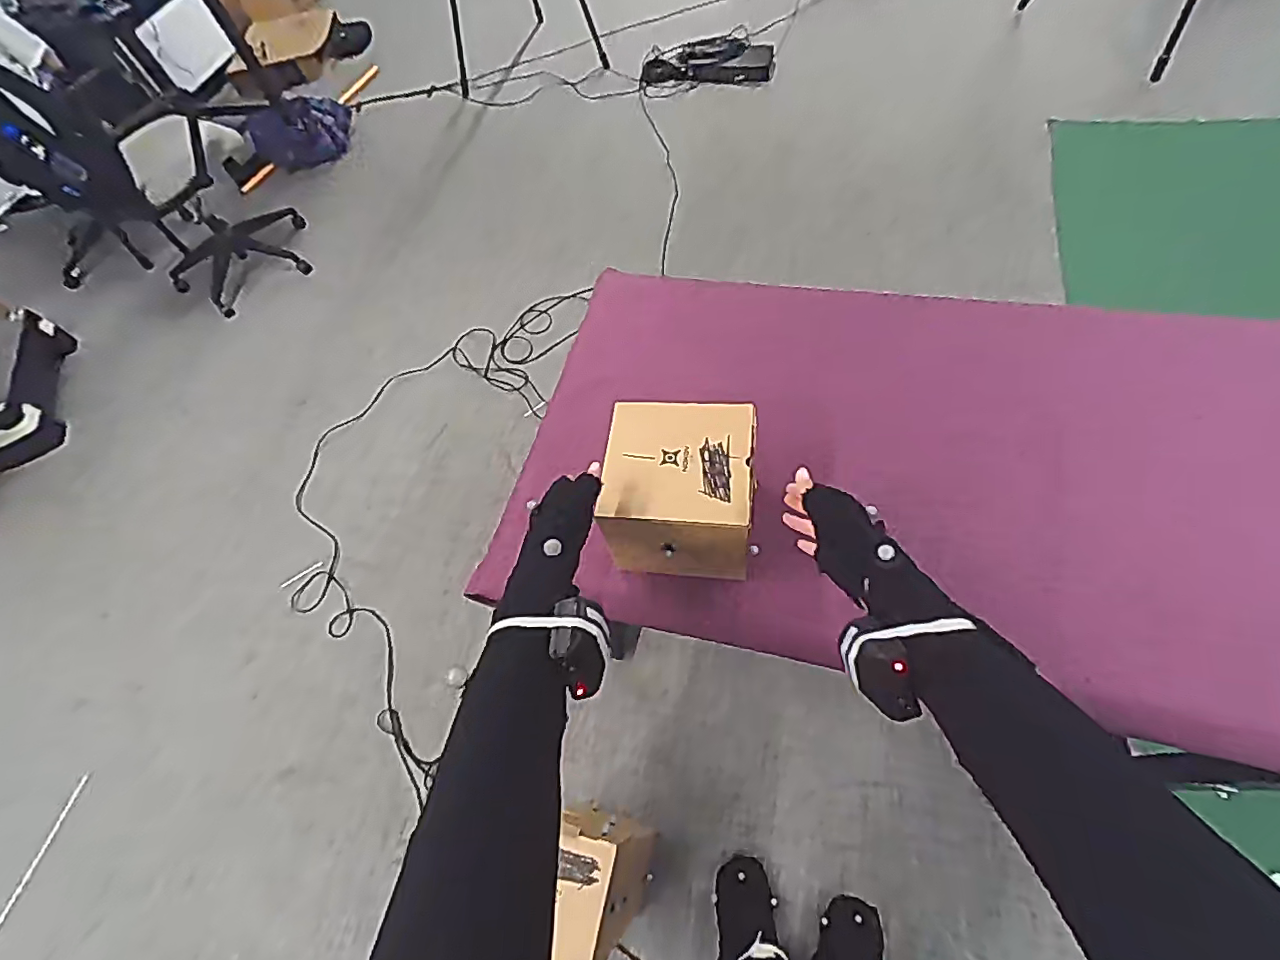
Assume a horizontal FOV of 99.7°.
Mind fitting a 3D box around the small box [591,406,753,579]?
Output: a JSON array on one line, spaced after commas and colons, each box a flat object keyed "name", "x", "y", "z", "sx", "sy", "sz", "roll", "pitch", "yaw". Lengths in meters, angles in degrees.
[{"name": "small box", "x": 0.051, "y": 0.022, "z": 0.704, "sx": 0.179, "sy": 0.176, "sz": 0.168, "roll": 3, "pitch": 60, "yaw": 11}]
